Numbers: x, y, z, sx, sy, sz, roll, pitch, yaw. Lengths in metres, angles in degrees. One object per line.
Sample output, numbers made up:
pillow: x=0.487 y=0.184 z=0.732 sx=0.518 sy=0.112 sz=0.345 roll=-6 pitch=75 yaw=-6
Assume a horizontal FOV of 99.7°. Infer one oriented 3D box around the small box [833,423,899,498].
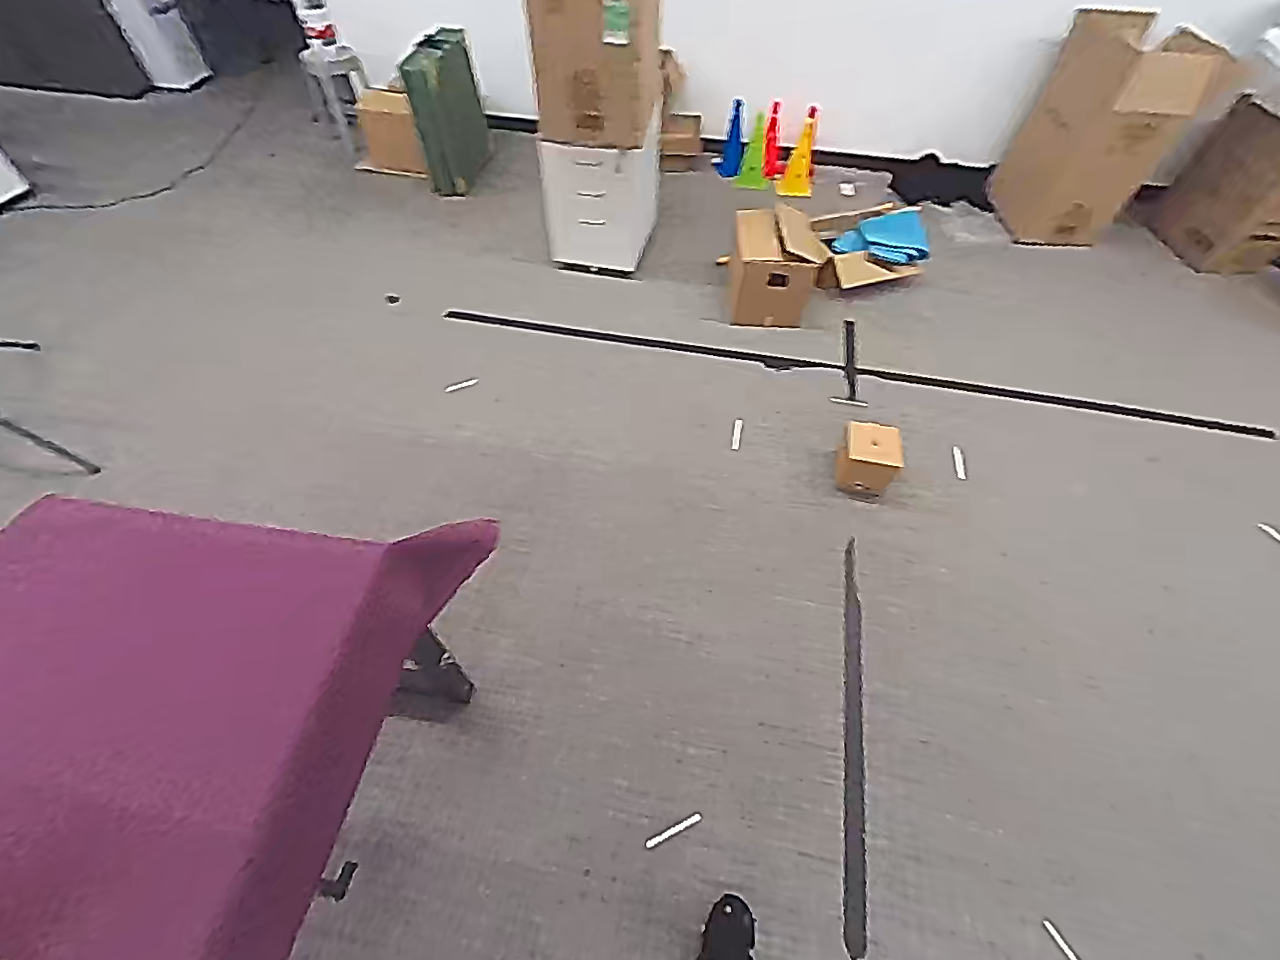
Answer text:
small box: x=0.765 y=-0.065 z=1.848 sx=0.168 sy=0.176 sz=0.179 roll=9 pitch=54 yaw=7
